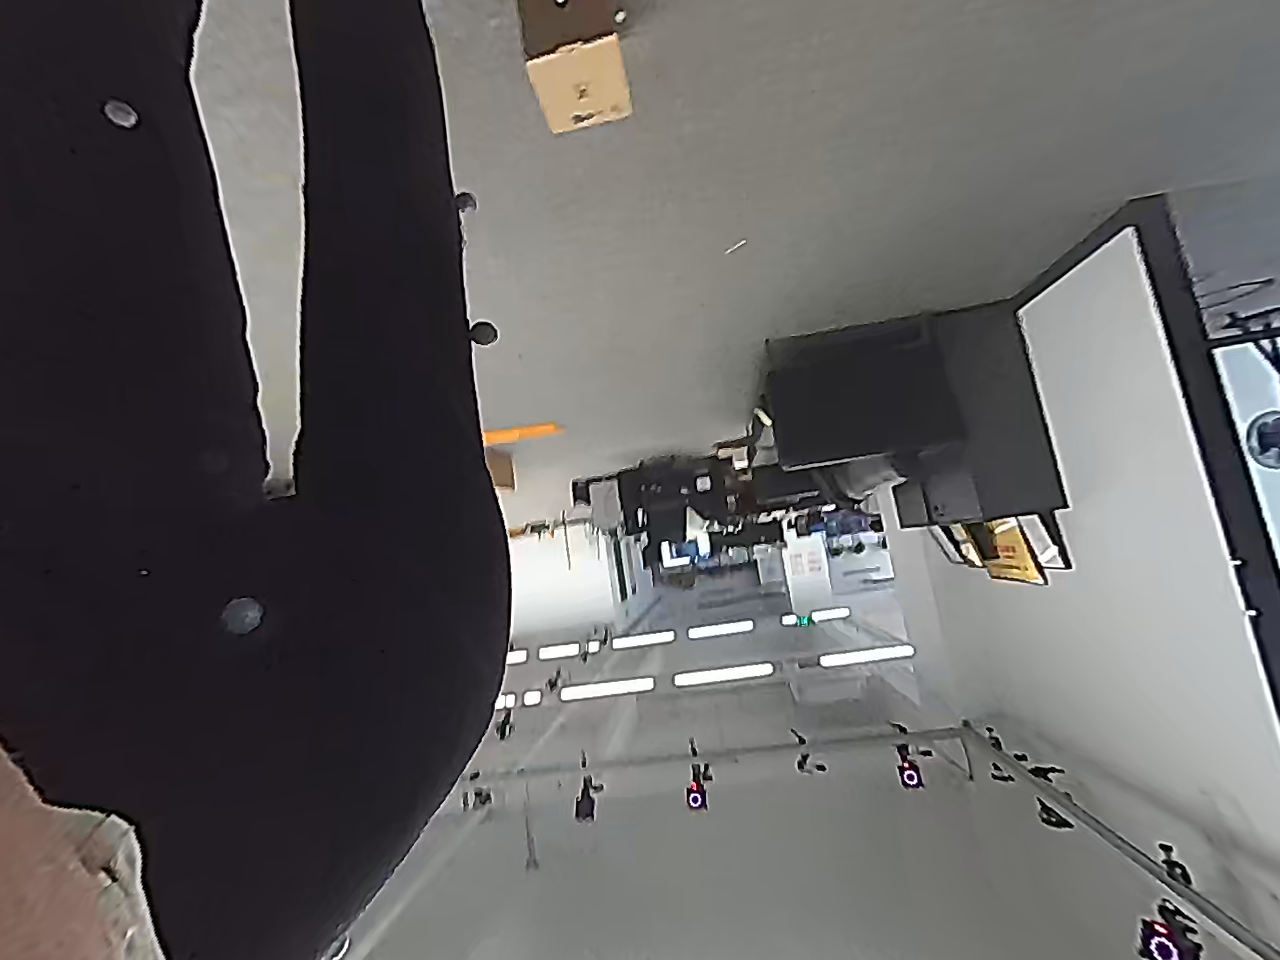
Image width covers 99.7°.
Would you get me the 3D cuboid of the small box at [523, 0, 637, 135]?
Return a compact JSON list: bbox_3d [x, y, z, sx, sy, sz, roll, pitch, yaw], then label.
[{"bbox_3d":[-0.107,-0.790,0.992,0.168,0.176,0.179,-10,172,6],"label":"small box"}]
